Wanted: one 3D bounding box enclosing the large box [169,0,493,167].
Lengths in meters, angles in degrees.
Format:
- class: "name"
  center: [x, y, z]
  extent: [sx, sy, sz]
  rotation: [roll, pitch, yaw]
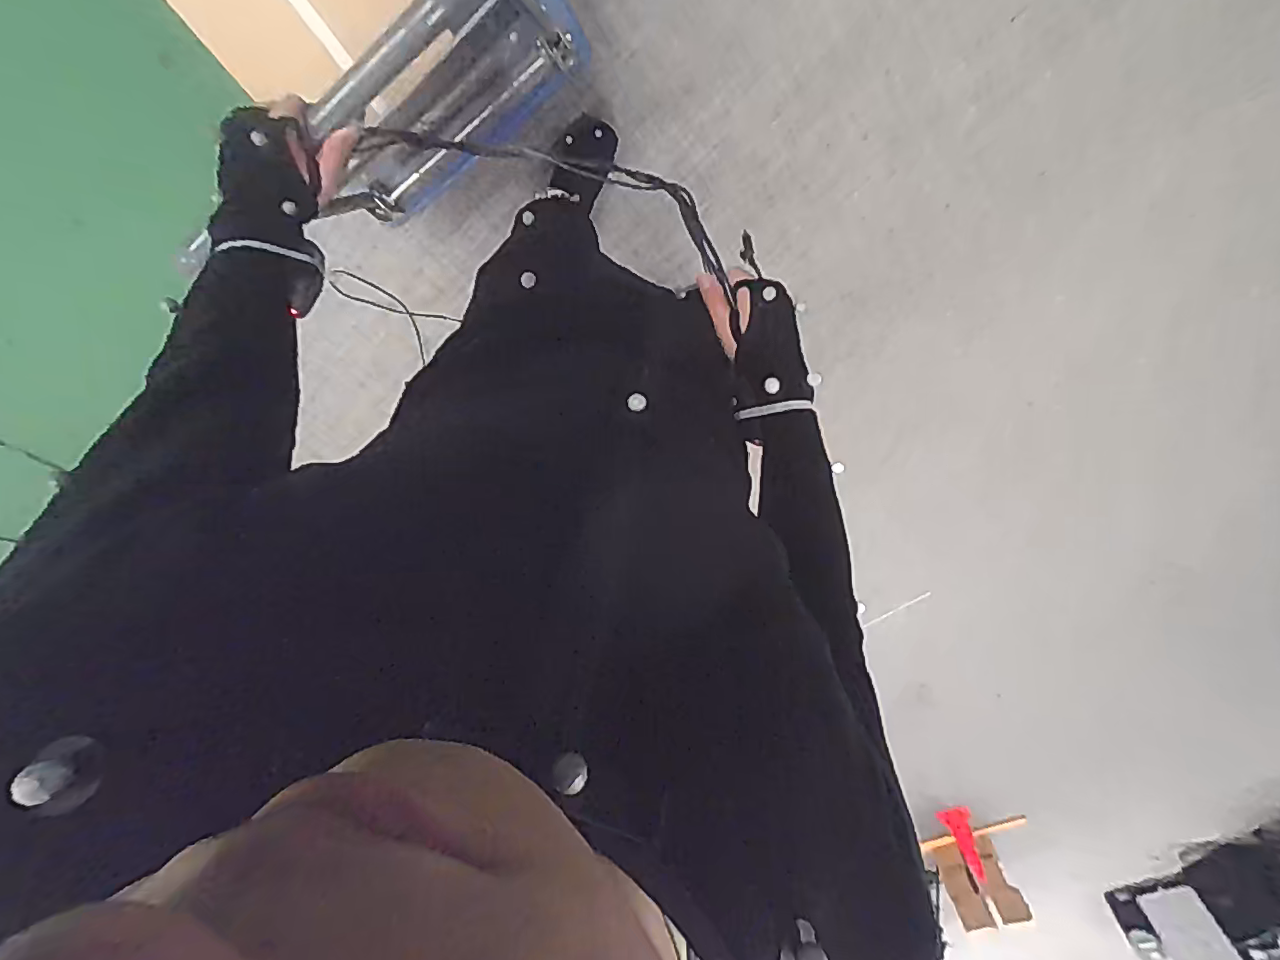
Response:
- class: "large box"
  center: [-0.506, -0.793, 0.855]
  extent: [0.320, 0.320, 0.408]
  rotation: [-28, 121, 17]
